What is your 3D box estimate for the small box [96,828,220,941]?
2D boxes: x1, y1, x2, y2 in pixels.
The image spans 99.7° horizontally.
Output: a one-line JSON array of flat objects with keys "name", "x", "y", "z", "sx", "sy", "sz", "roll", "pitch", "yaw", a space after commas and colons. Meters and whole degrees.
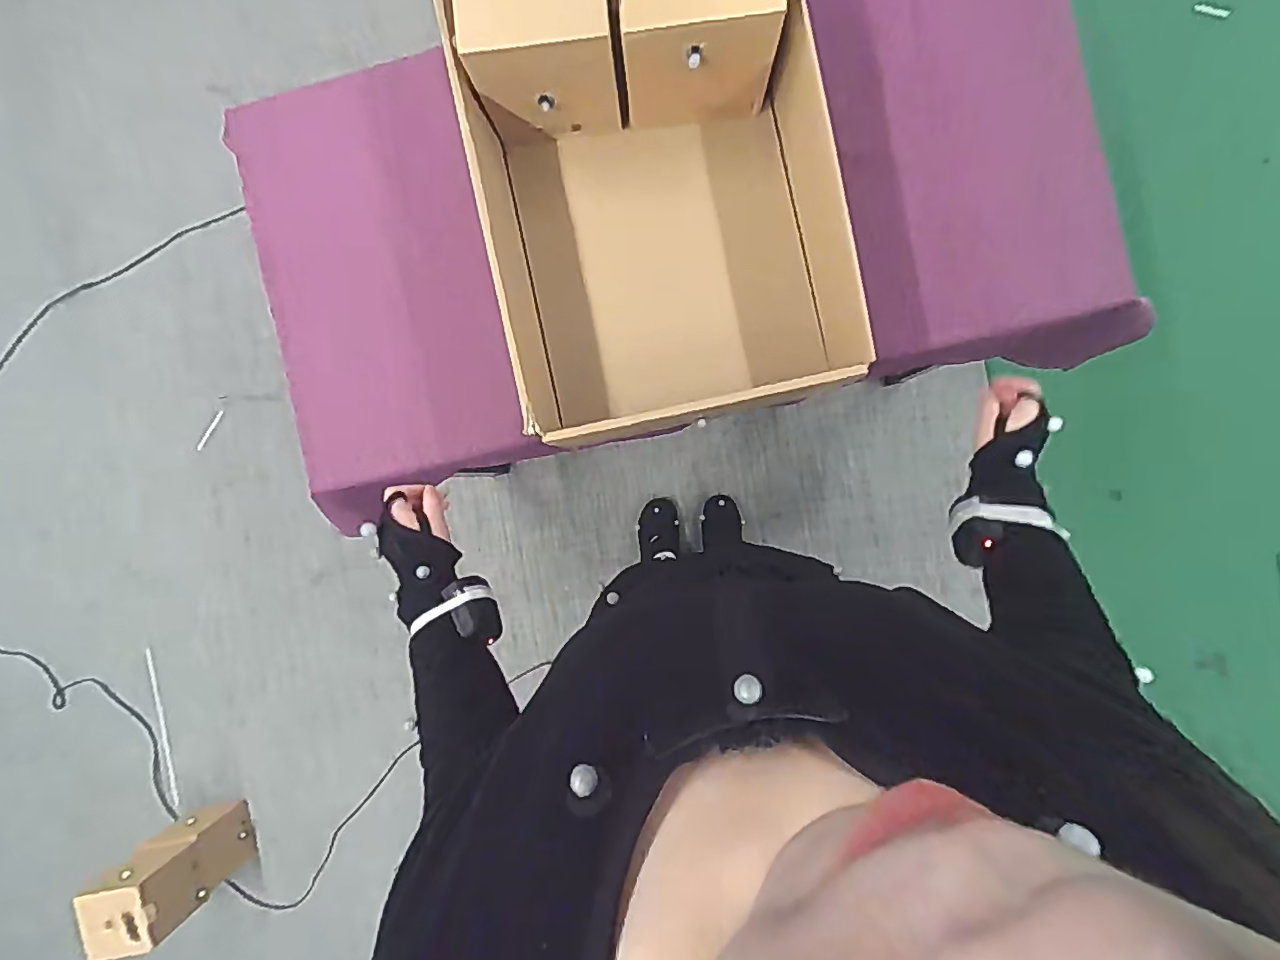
[{"name": "small box", "x": -1.252, "y": 1.054, "z": 1.423, "sx": 0.179, "sy": 0.176, "sz": 0.168, "roll": -13, "pitch": 90, "yaw": 6}]
